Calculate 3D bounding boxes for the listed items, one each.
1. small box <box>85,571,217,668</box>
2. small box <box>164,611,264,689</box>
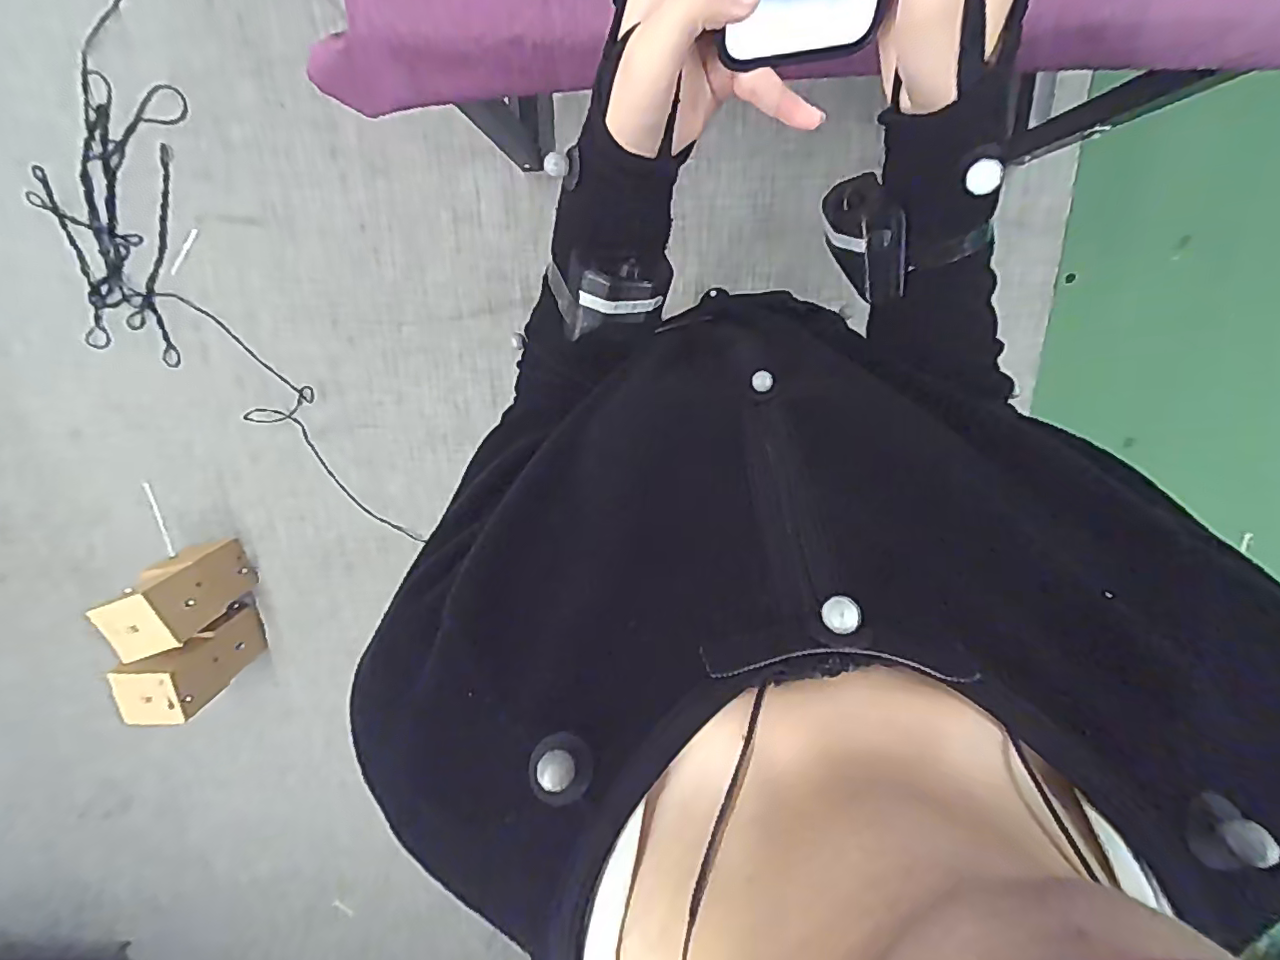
[{"bbox_3d":[-1.283,0.365,1.441,0.179,0.176,0.168,-18,106,8],"label":"small box"},{"bbox_3d":[-1.303,0.515,1.659,0.168,0.176,0.179,-1,108,4],"label":"small box"}]
